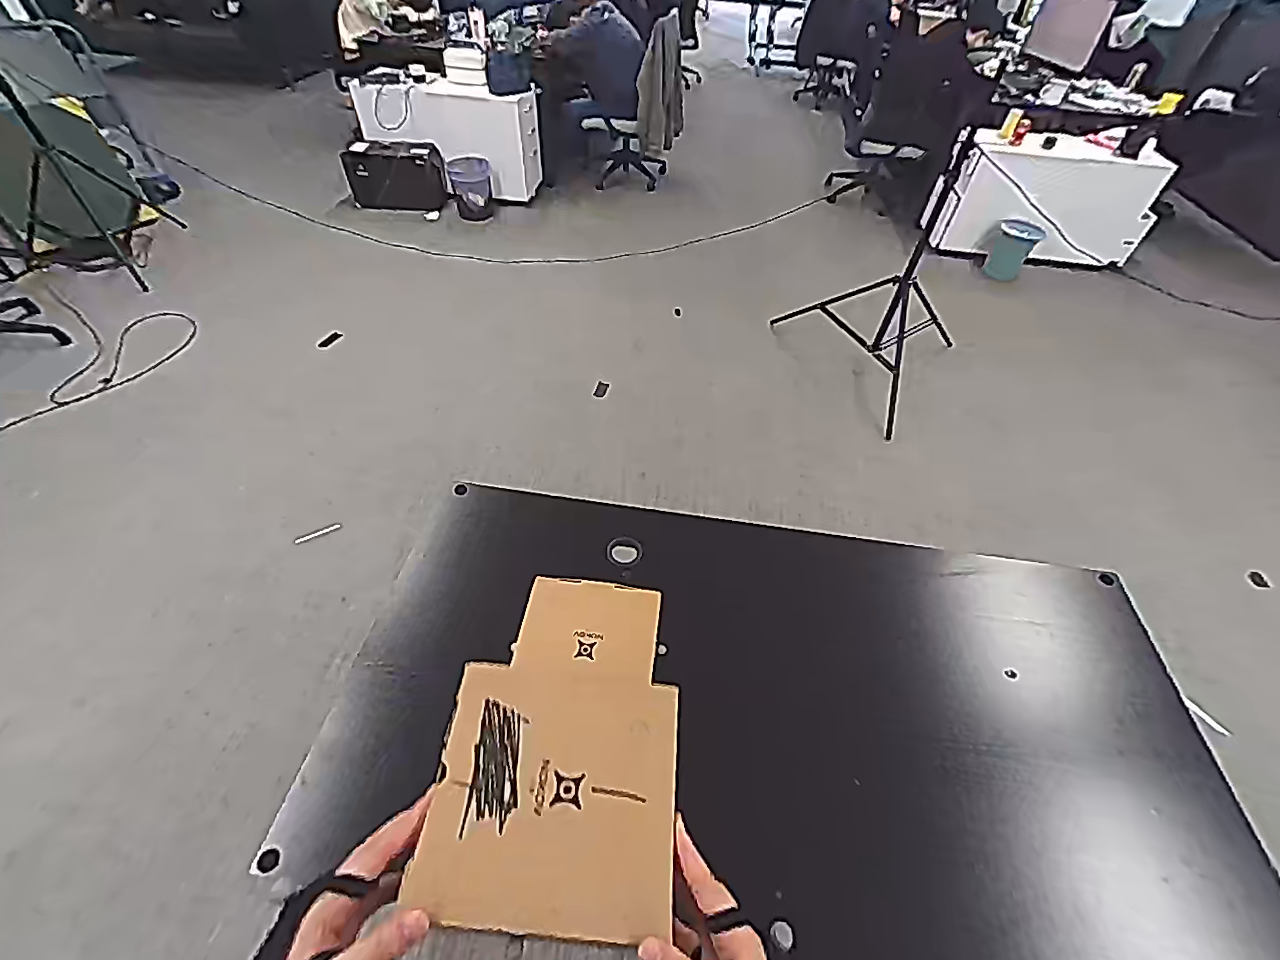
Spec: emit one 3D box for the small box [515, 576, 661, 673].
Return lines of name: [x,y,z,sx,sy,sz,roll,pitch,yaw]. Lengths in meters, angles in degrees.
small box: [-0.066,0.250,0.702,0.168,0.176,0.179,5,49,3]

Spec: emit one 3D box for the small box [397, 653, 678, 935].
small box: [-0.070,0.264,0.450,0.179,0.176,0.168,8,49,-3]
